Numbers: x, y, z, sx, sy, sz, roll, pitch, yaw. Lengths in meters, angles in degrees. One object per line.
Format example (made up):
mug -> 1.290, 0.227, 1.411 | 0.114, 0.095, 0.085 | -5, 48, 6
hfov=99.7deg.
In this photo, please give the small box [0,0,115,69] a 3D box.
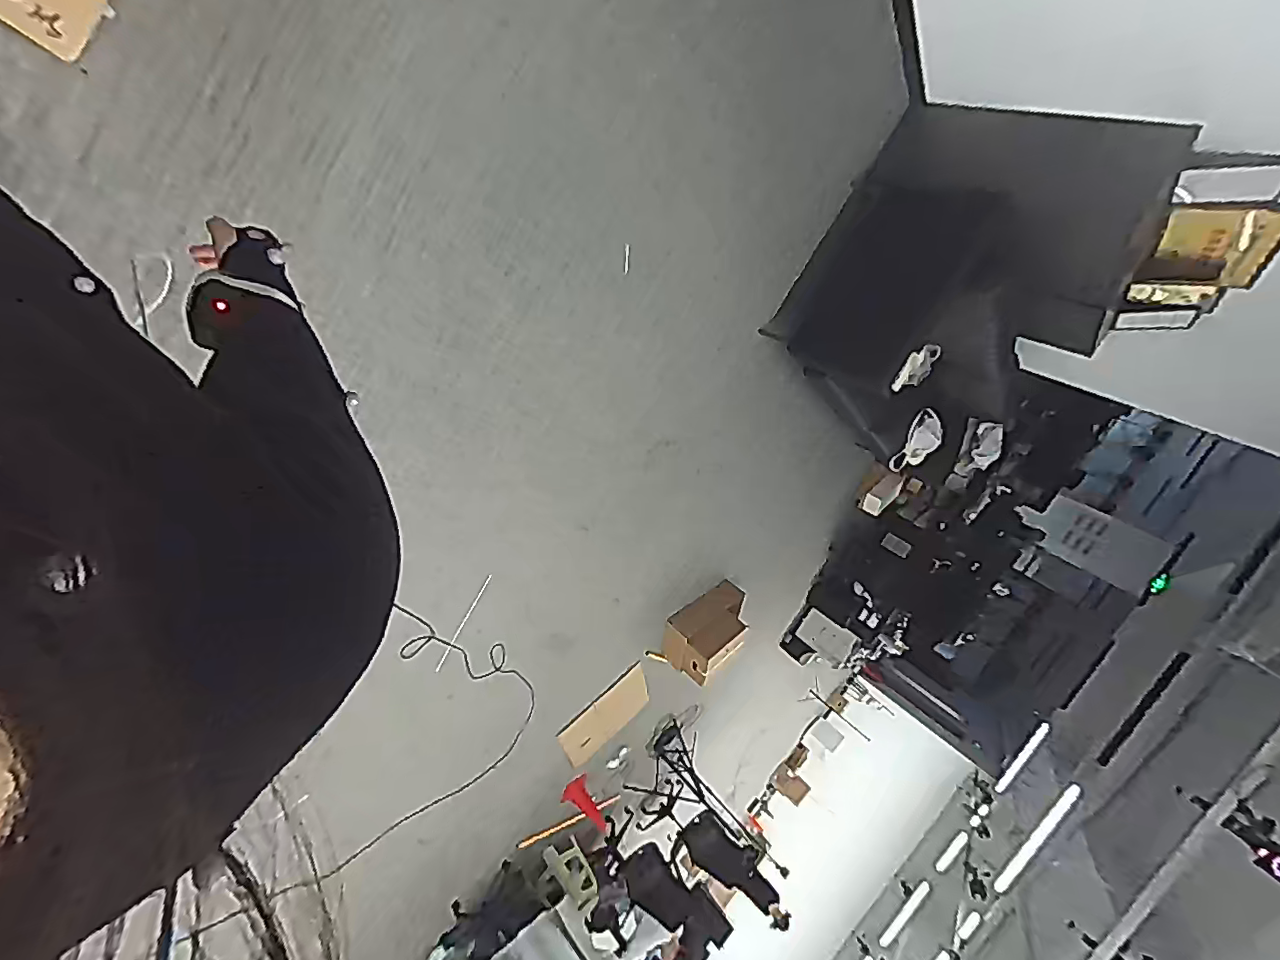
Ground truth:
small box -> -0.687, -0.592, 0.583 | 0.179, 0.176, 0.168 | -58, 146, 2
